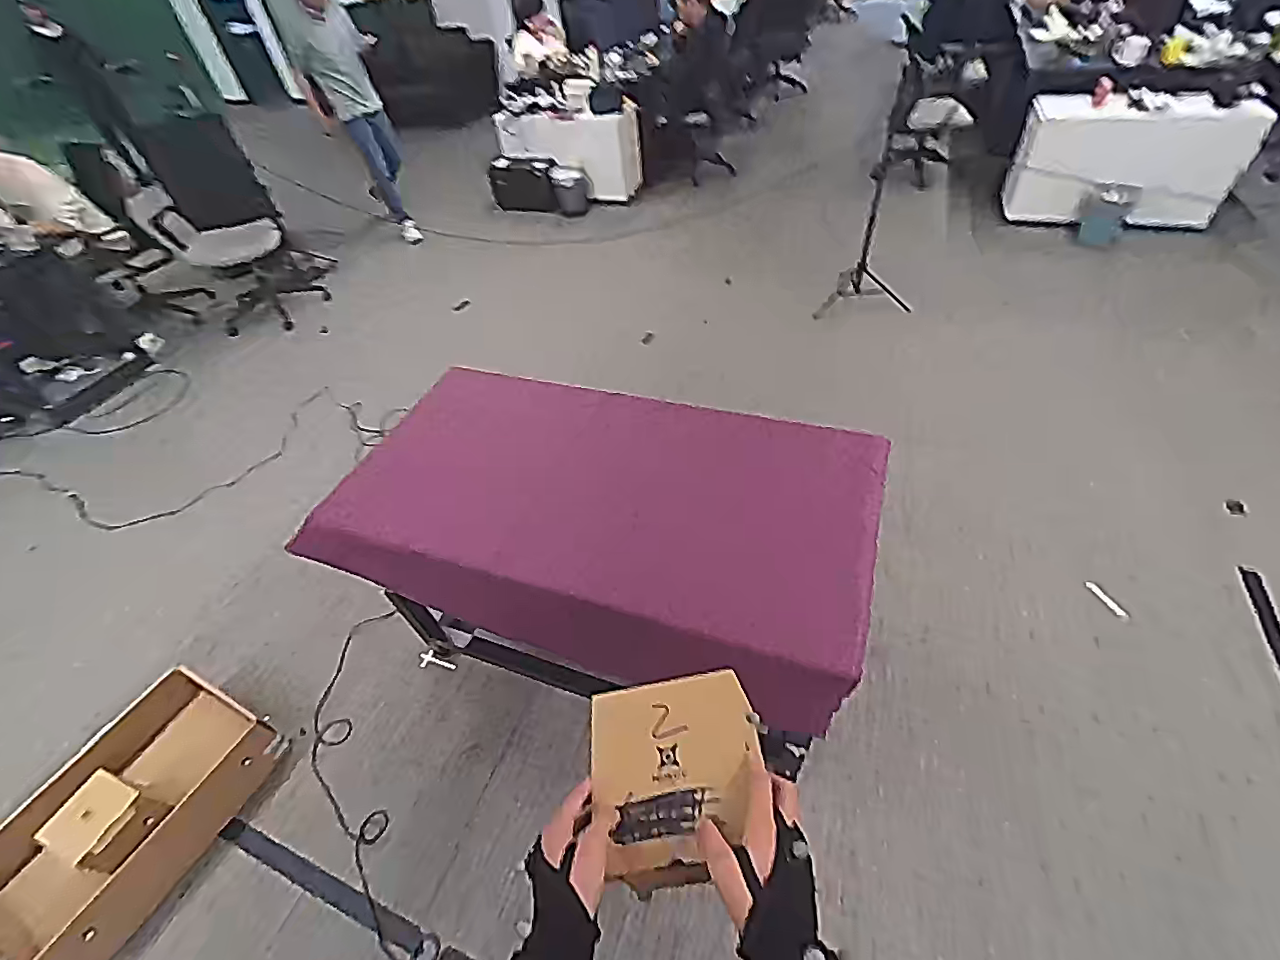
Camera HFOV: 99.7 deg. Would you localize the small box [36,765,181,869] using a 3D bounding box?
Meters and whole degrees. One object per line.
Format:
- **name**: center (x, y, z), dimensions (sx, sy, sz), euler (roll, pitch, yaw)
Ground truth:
- **small box**: center (-1.362, 0.879, 1.401), dimensions (0.179, 0.176, 0.168), euler (13, 48, 18)
